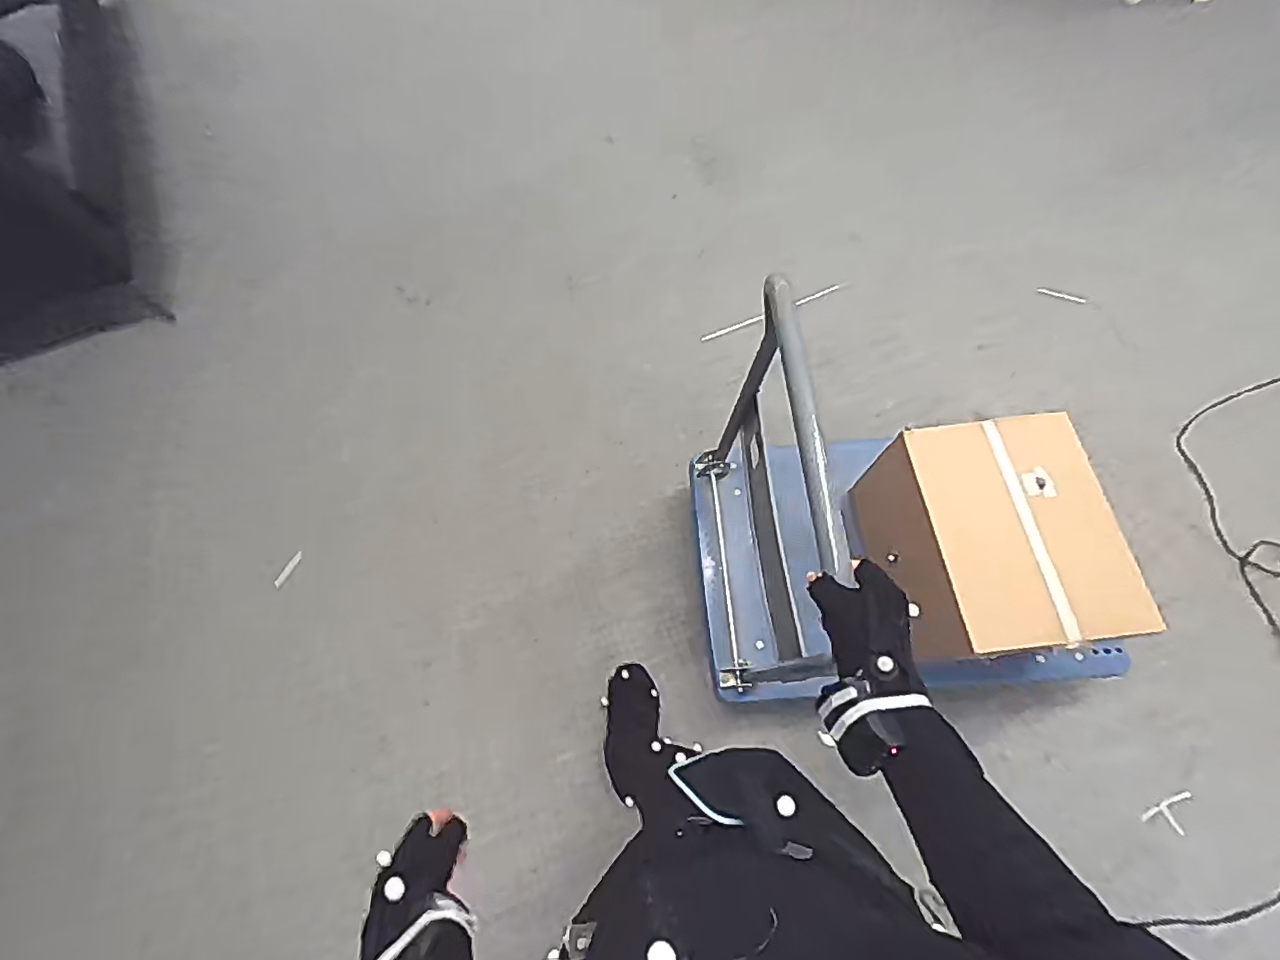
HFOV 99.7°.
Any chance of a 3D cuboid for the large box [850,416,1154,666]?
[{"bbox_3d":[0.664,0.135,1.083,0.320,0.320,0.408,-6,66,-1],"label":"large box"}]
